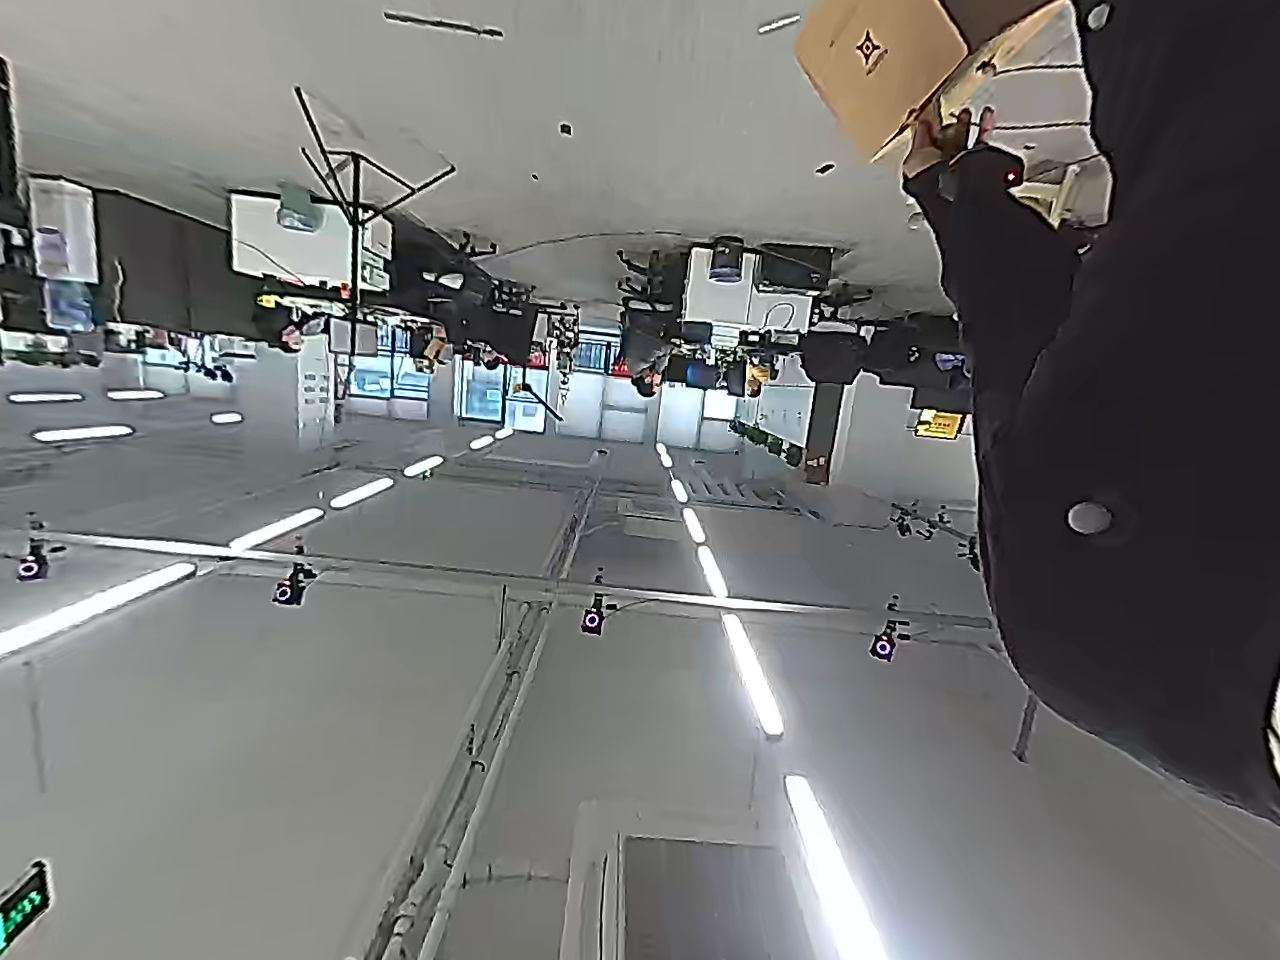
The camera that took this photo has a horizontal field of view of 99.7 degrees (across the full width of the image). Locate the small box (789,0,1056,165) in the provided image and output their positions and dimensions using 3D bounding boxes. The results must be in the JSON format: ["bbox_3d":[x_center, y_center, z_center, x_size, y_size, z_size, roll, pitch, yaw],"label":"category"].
[{"bbox_3d":[0.315,-0.517,0.616,0.176,0.179,0.168,-37,-177,-14],"label":"small box"}]
